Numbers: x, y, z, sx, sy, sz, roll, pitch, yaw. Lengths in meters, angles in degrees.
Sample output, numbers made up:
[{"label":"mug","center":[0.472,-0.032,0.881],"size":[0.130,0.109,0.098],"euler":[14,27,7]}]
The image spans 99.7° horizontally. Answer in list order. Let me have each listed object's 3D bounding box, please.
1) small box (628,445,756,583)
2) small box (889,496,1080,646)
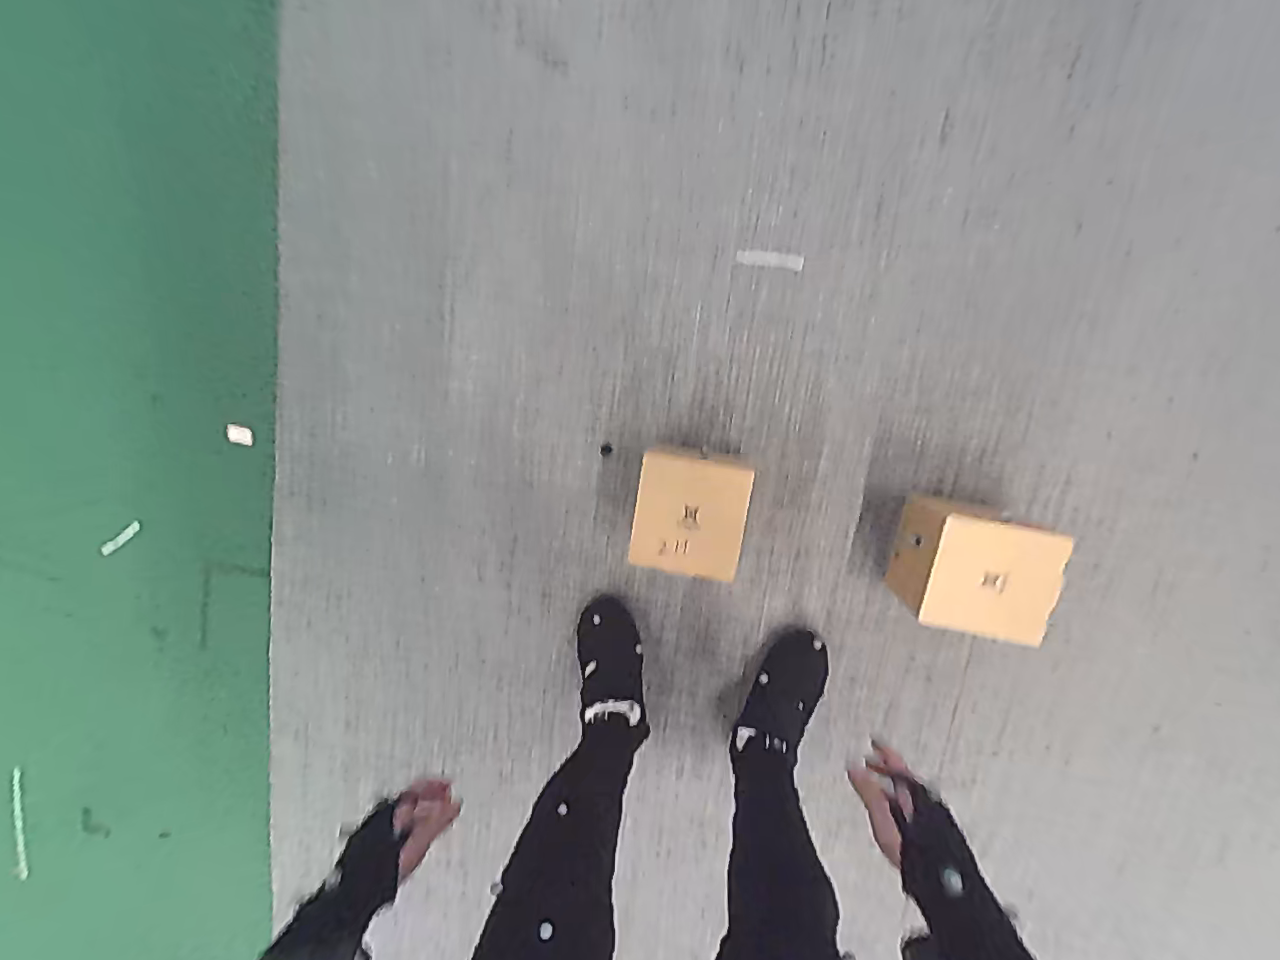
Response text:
[{"label":"small box","center":[0.083,0.044,0.872],"size":[0.168,0.176,0.179],"euler":[10,100,6]},{"label":"small box","center":[0.508,0.127,0.831],"size":[0.179,0.176,0.168],"euler":[11,100,5]}]
